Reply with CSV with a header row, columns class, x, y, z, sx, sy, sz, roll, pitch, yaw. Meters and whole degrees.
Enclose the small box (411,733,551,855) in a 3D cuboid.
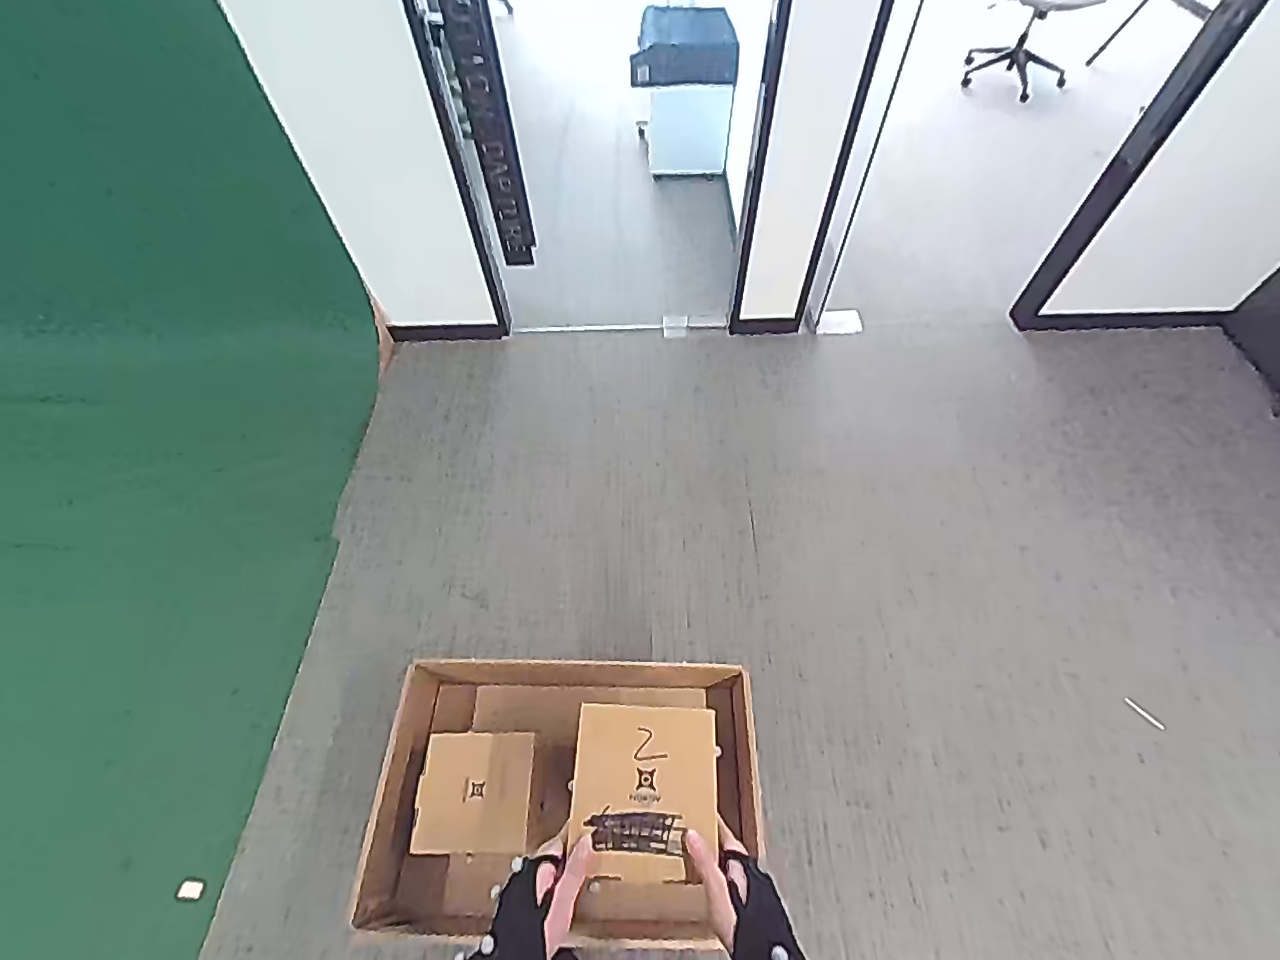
class,x,y,z,sx,sy,sz,roll,pitch,yaw
small box,-0.254,0.530,0.911,0.179,0.176,0.168,0,56,0
